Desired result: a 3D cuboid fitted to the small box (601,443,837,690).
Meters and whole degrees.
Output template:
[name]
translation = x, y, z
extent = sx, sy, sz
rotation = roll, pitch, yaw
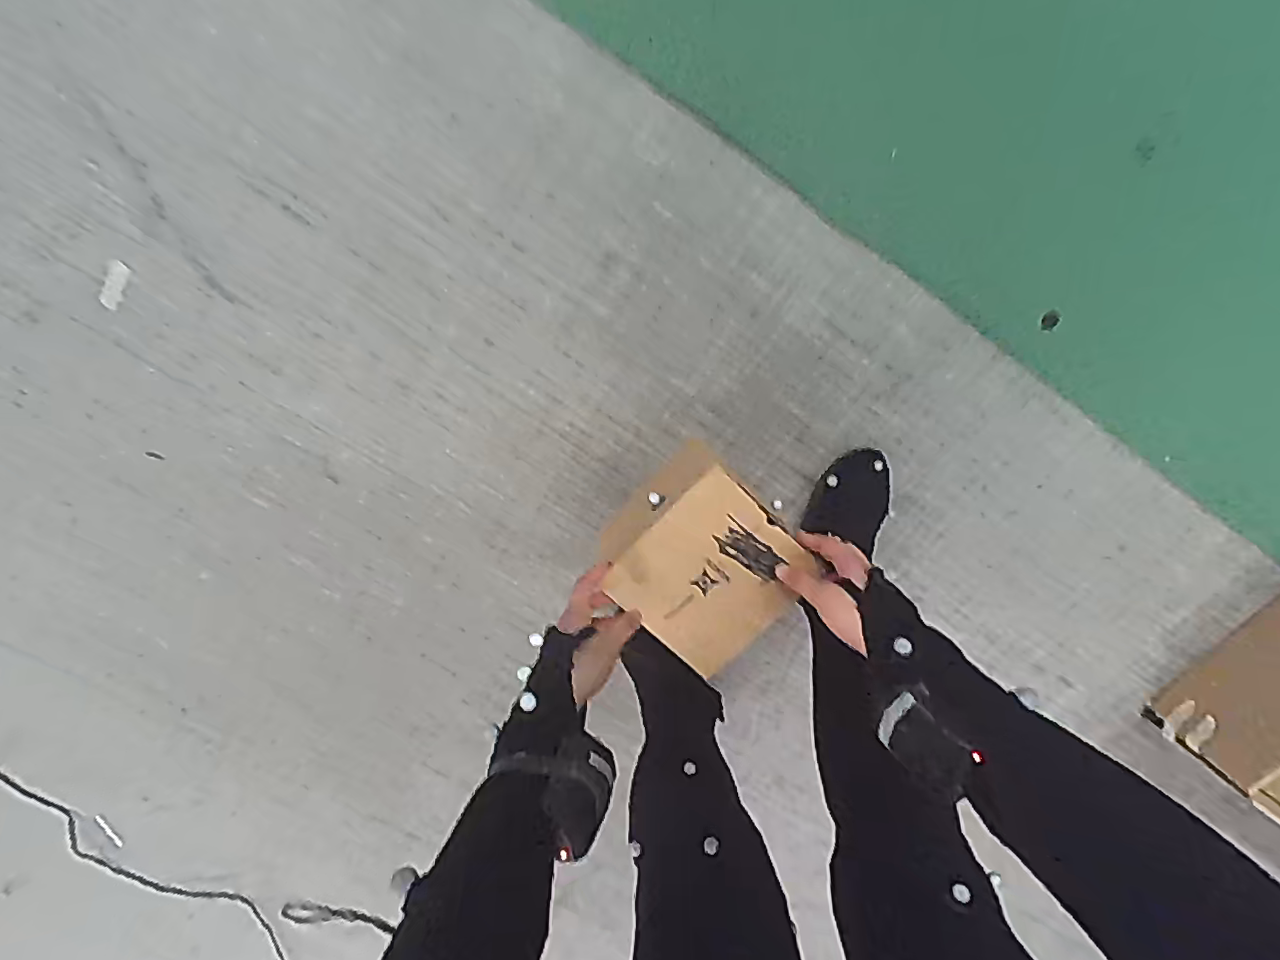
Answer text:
[small box]
translation = 0.073, 0.081, 0.598
extent = 0.168, 0.176, 0.179
rotation = 43, 100, -11
